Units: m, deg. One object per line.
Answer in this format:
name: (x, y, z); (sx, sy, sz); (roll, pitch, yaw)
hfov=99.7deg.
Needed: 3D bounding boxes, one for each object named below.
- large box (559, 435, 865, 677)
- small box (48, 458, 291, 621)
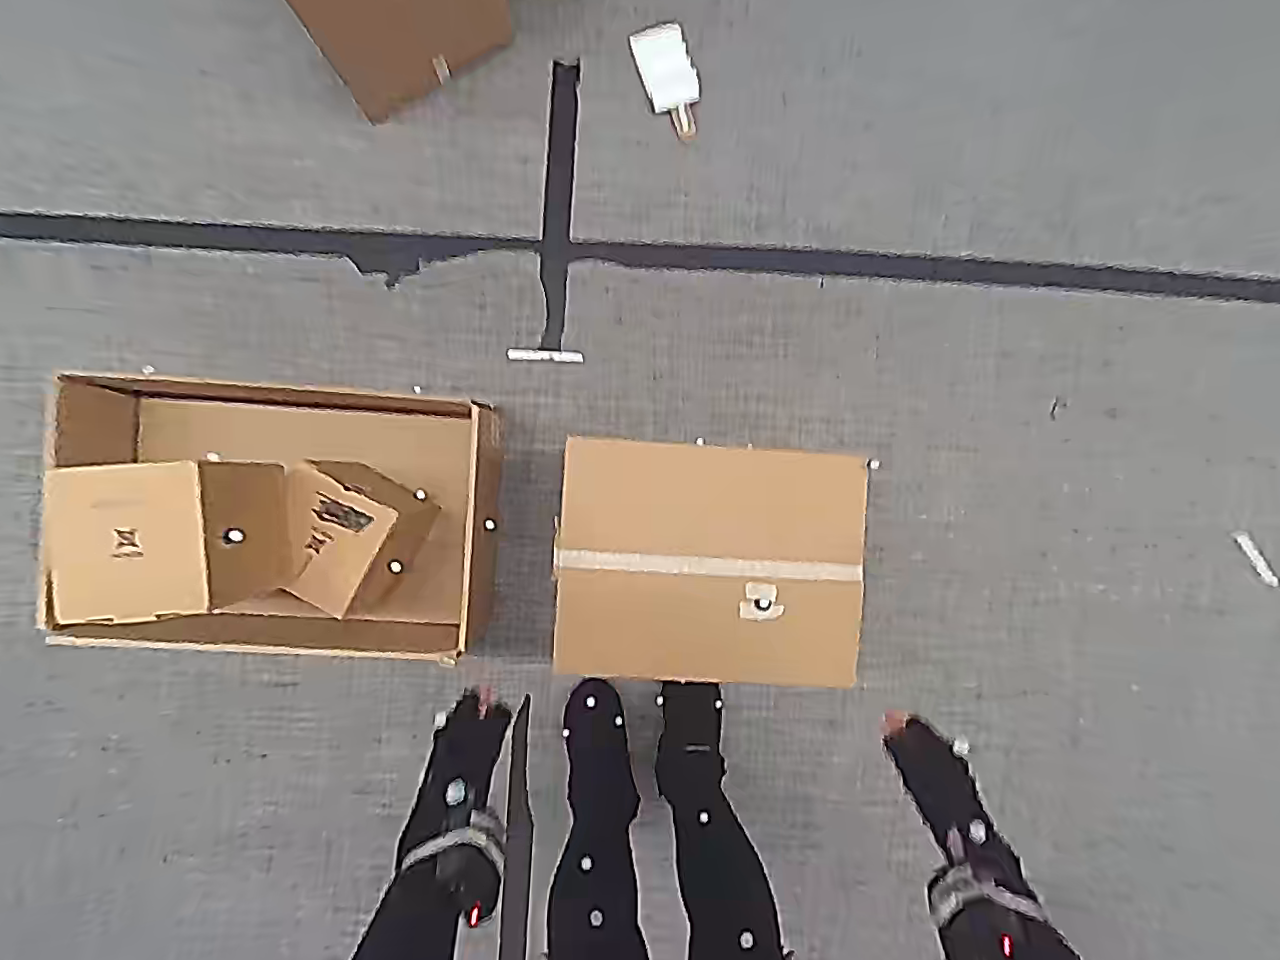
large box: (0.087, 0.102, 0.858); (0.408, 0.320, 0.320); (3, 91, -3)
small box: (-0.574, 0.066, 0.685); (0.168, 0.176, 0.179); (-4, 90, -3)
